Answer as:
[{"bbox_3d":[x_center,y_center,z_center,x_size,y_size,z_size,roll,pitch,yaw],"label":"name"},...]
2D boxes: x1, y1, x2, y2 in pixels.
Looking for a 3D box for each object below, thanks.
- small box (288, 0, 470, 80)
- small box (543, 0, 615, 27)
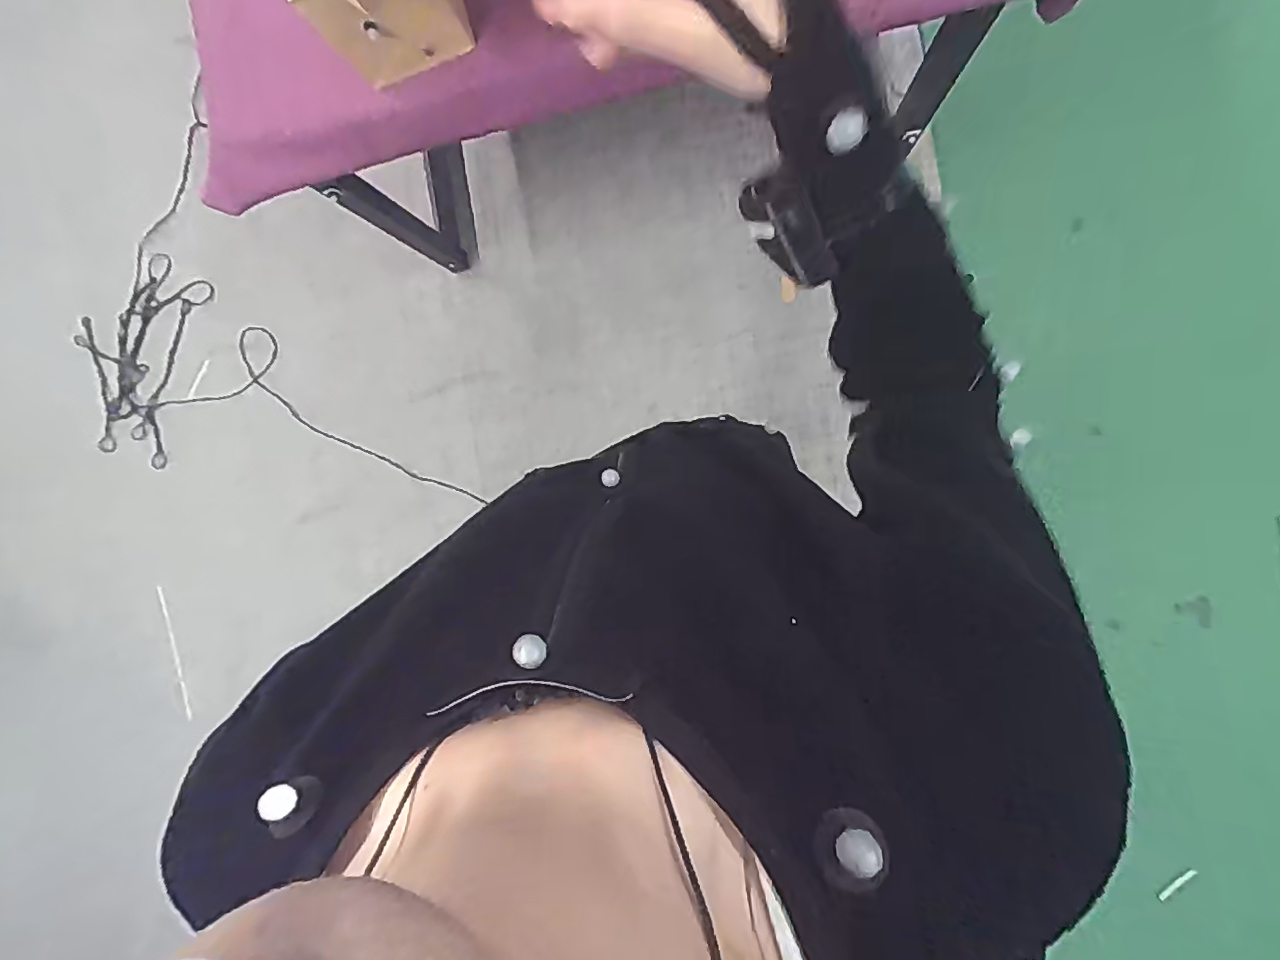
[{"bbox_3d":[-0.344,-0.664,0.696,0.168,0.176,0.179,-15,91,9],"label":"small box"},{"bbox_3d":[-0.087,-0.710,0.651,0.179,0.176,0.168,45,98,4],"label":"small box"}]
